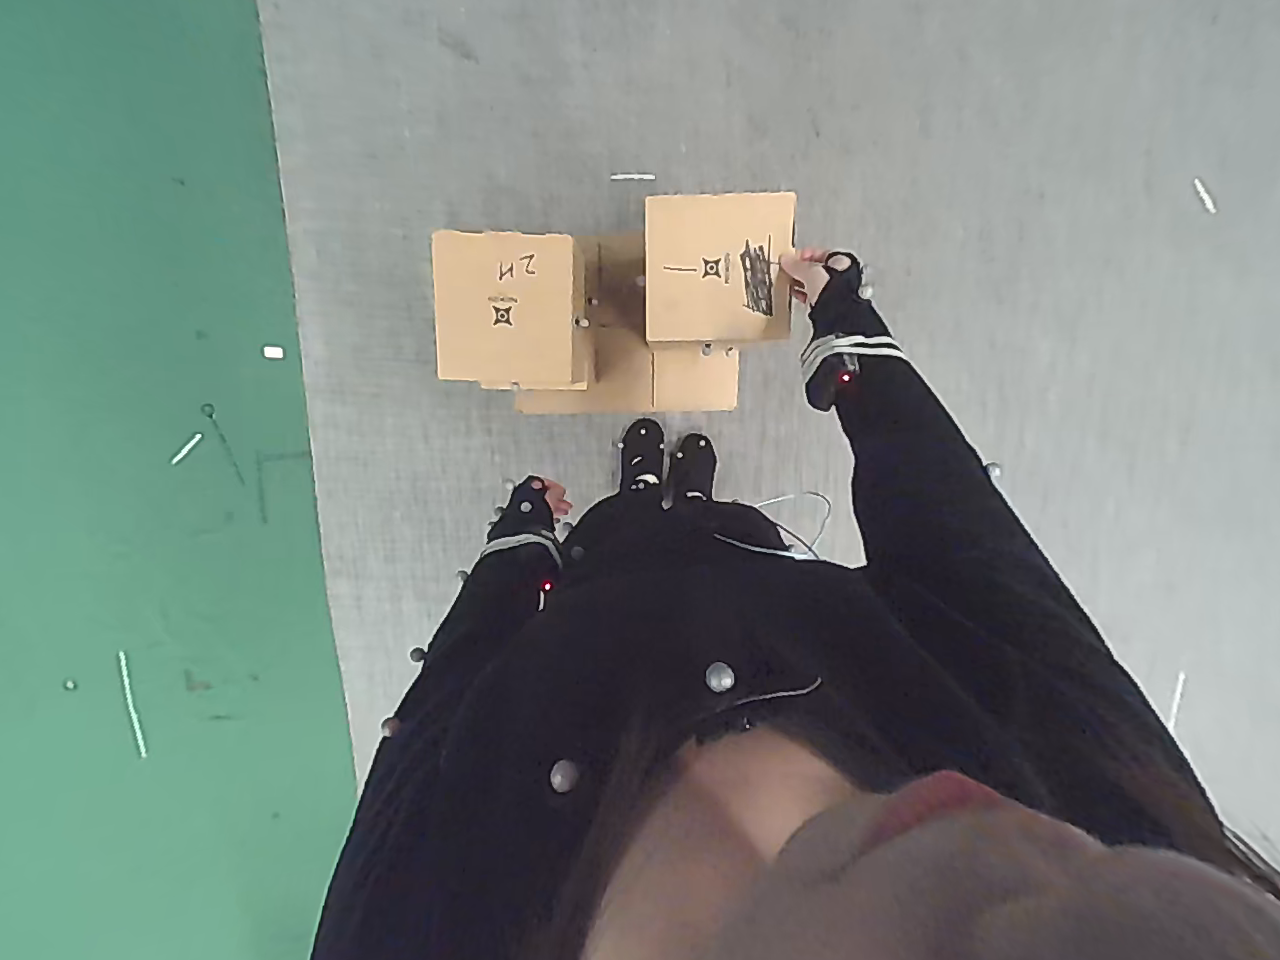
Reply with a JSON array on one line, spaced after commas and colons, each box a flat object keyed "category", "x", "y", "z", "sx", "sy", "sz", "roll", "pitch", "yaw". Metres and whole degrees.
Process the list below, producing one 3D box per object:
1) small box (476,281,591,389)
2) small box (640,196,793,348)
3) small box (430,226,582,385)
[{"category": "small box", "x": -0.169, "y": -0.244, "z": 0.888, "sx": 0.168, "sy": 0.176, "sz": 0.179, "roll": 1, "pitch": 102, "yaw": -1}, {"category": "small box", "x": 0.091, "y": -0.263, "z": 0.716, "sx": 0.179, "sy": 0.176, "sz": 0.168, "roll": 1, "pitch": 102, "yaw": 3}, {"category": "small box", "x": -0.168, "y": -0.223, "z": 0.724, "sx": 0.168, "sy": 0.176, "sz": 0.179, "roll": 3, "pitch": 102, "yaw": -2}]
